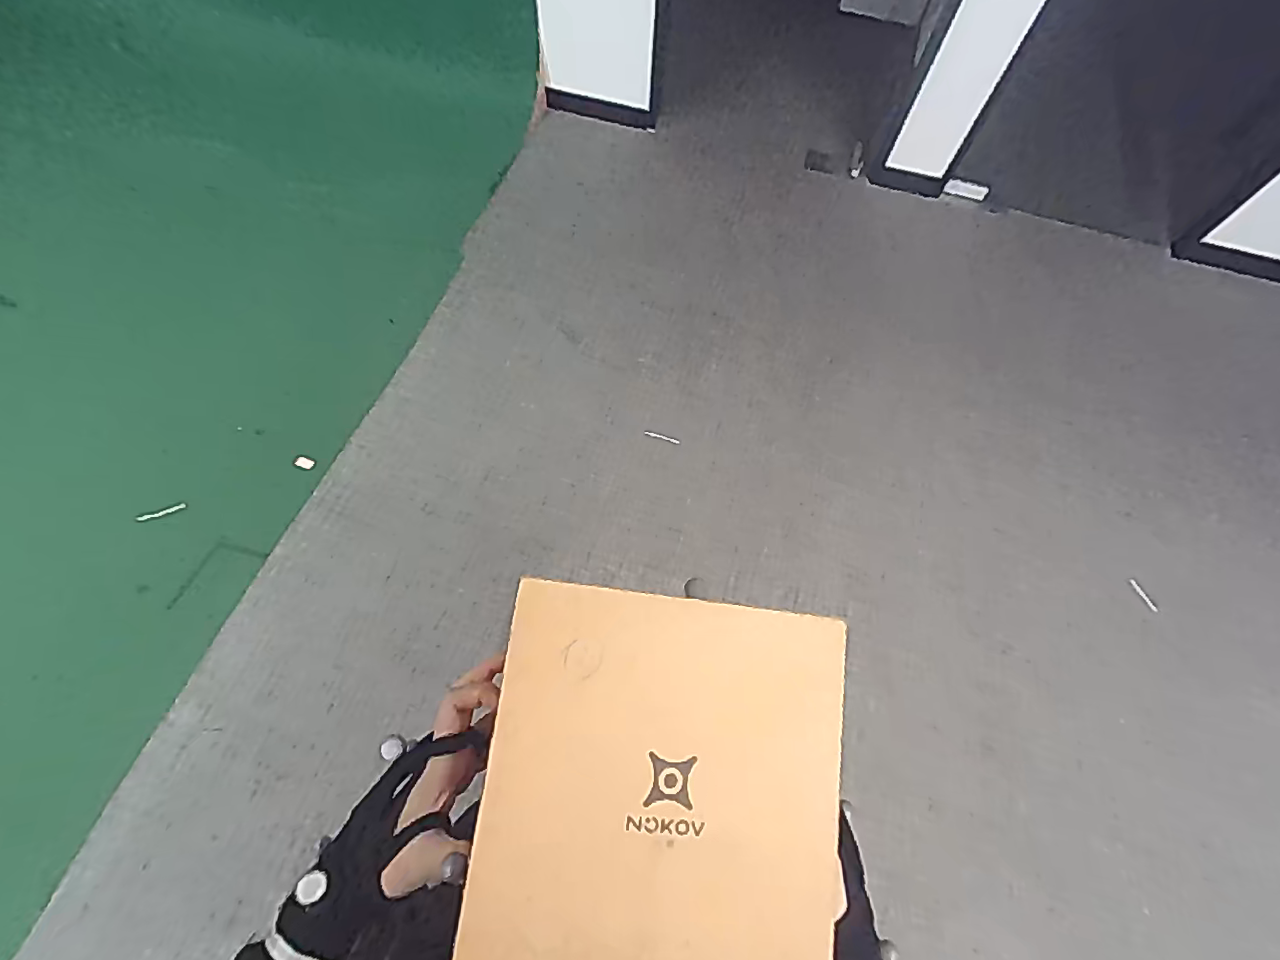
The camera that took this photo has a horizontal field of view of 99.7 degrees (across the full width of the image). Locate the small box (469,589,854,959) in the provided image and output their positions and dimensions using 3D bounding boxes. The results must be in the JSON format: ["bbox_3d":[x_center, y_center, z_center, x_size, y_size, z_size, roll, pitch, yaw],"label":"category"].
[{"bbox_3d":[0.005,0.163,0.323,0.168,0.176,0.179,9,78,-7],"label":"small box"}]
